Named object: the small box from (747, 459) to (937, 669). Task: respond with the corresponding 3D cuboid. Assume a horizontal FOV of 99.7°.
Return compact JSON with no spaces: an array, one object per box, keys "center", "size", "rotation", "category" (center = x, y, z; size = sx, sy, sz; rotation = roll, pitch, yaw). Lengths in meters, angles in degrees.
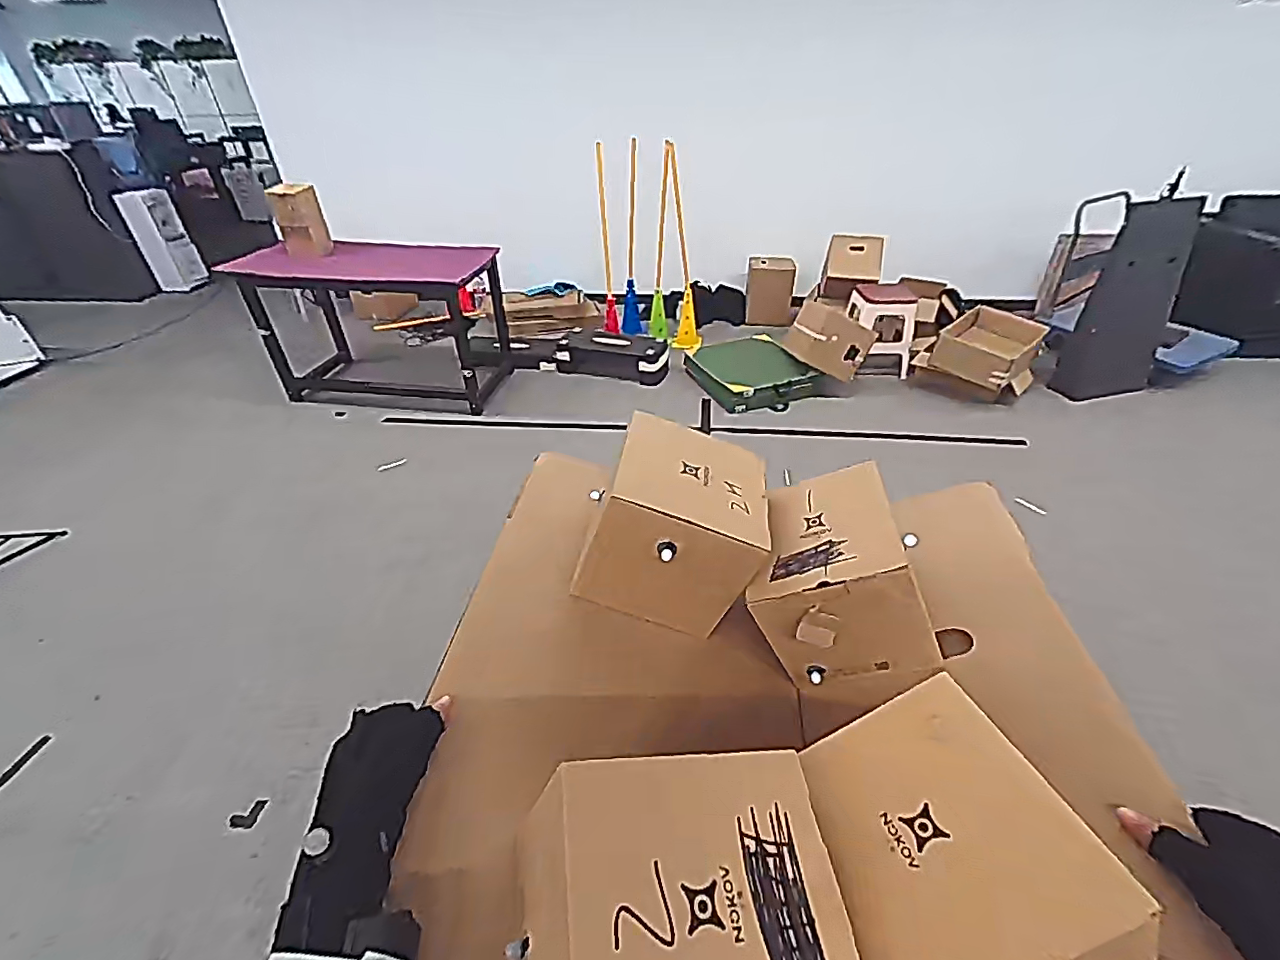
[{"center":[0.238,0.109,0.654],"size":[0.168,0.176,0.179],"rotation":[-18,32,24],"category":"small box"}]
